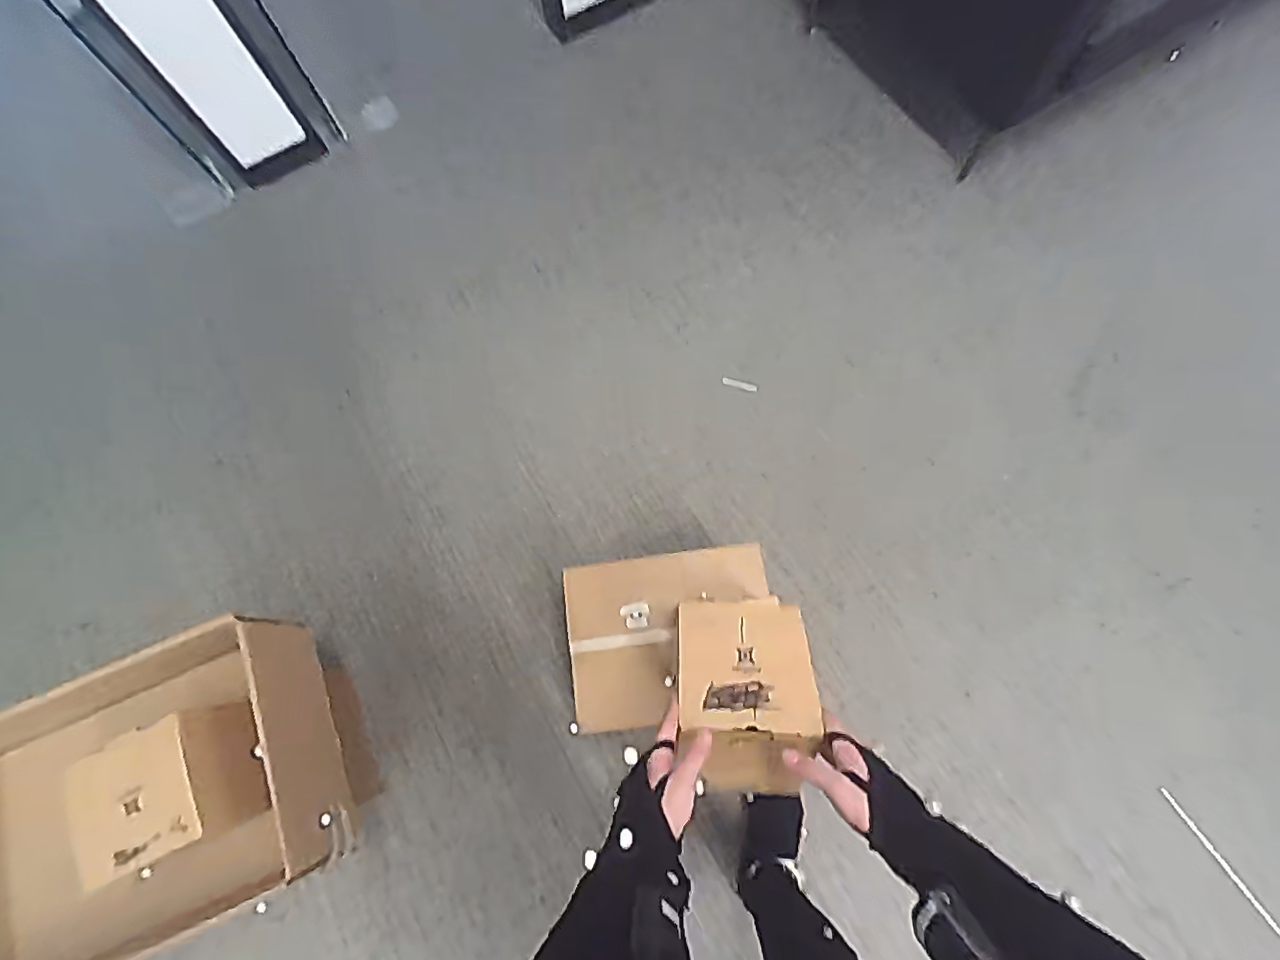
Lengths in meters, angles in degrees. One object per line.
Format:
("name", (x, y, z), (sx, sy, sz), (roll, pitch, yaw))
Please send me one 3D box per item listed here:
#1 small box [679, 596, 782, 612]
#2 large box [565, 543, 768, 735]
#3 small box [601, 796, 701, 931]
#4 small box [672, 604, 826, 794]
("small box", (0.154, 0.298, 0.943), (0.168, 0.176, 0.179), (-2, 75, 3))
("large box", (0.073, 0.343, 1.190), (0.408, 0.320, 0.320), (-8, 72, 1))
("small box", (0.032, 0.800, 1.154), (0.168, 0.176, 0.179), (12, 70, 13))
("small box", (0.130, 0.288, 0.710), (0.168, 0.176, 0.179), (2, 39, 2))
